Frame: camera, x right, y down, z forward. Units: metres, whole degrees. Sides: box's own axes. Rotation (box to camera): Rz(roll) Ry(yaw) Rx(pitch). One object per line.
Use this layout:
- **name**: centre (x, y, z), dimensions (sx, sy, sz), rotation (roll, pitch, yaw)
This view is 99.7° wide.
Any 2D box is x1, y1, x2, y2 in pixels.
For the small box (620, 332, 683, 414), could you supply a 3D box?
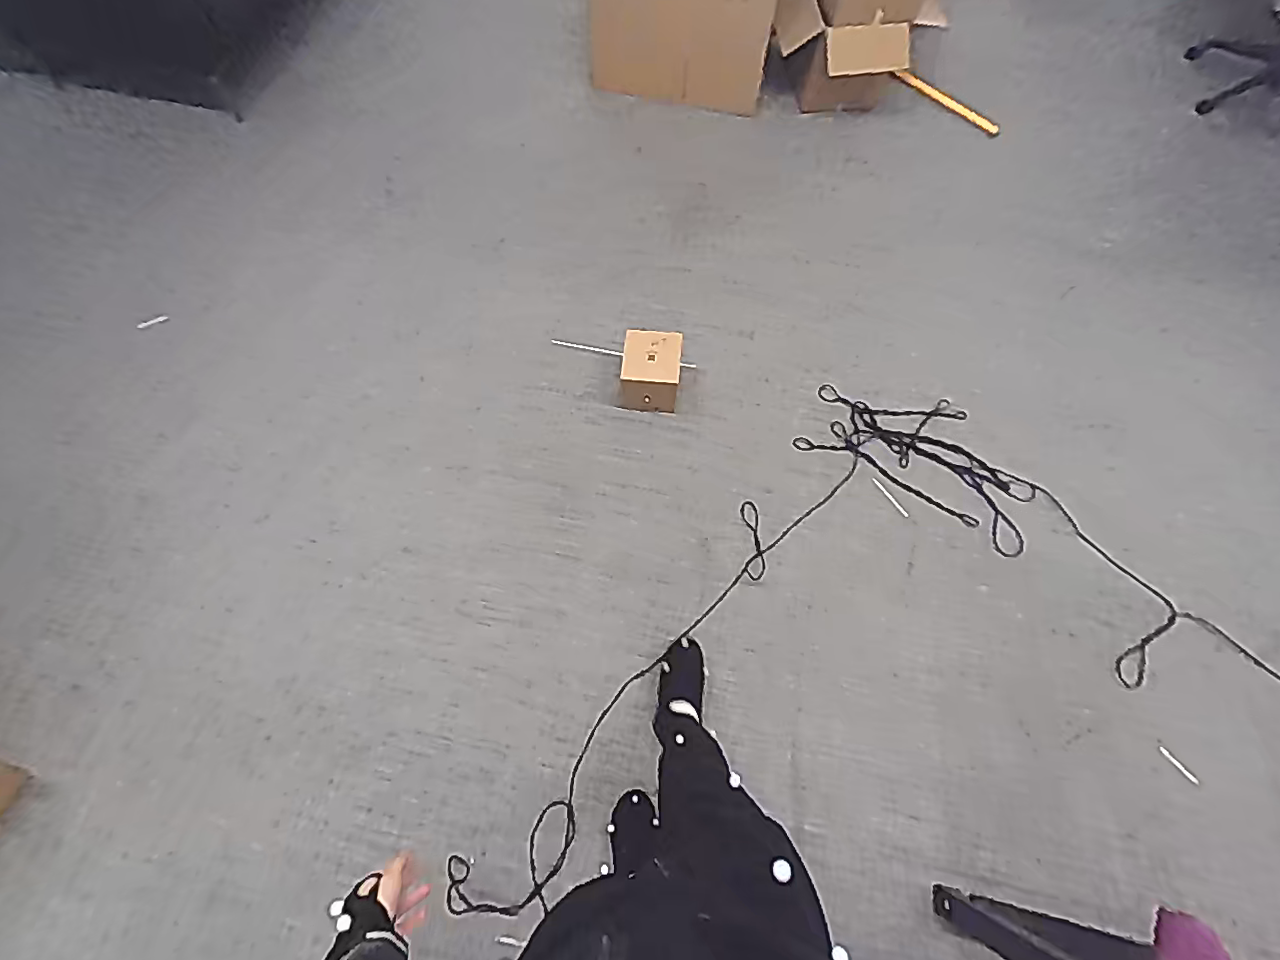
- **small box**: centre (0.037, -0.313, 1.612), dimensions (0.168, 0.176, 0.179), rotation (5, 67, 3)
